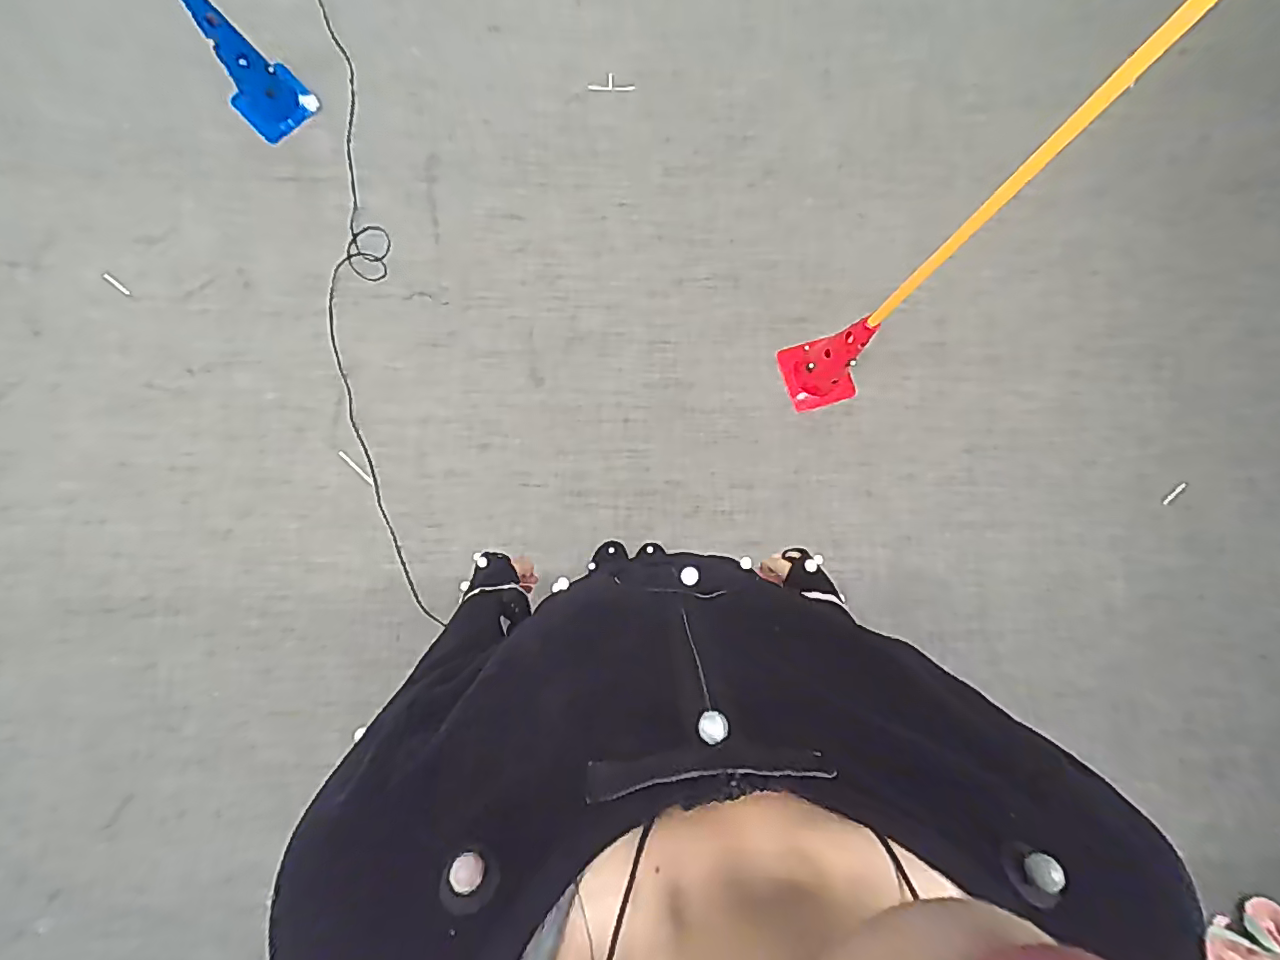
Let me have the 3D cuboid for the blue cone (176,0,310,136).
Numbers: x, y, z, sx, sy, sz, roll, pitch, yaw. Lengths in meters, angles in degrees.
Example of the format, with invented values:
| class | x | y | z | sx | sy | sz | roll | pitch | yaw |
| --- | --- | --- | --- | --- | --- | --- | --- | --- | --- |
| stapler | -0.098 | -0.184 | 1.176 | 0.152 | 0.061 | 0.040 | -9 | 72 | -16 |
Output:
| class | x | y | z | sx | sy | sz | roll | pitch | yaw |
| --- | --- | --- | --- | --- | --- | --- | --- | --- | --- |
| blue cone | -1.096 | -1.150 | 1.449 | 0.192 | 0.380 | 0.193 | 44 | 85 | 2 |
